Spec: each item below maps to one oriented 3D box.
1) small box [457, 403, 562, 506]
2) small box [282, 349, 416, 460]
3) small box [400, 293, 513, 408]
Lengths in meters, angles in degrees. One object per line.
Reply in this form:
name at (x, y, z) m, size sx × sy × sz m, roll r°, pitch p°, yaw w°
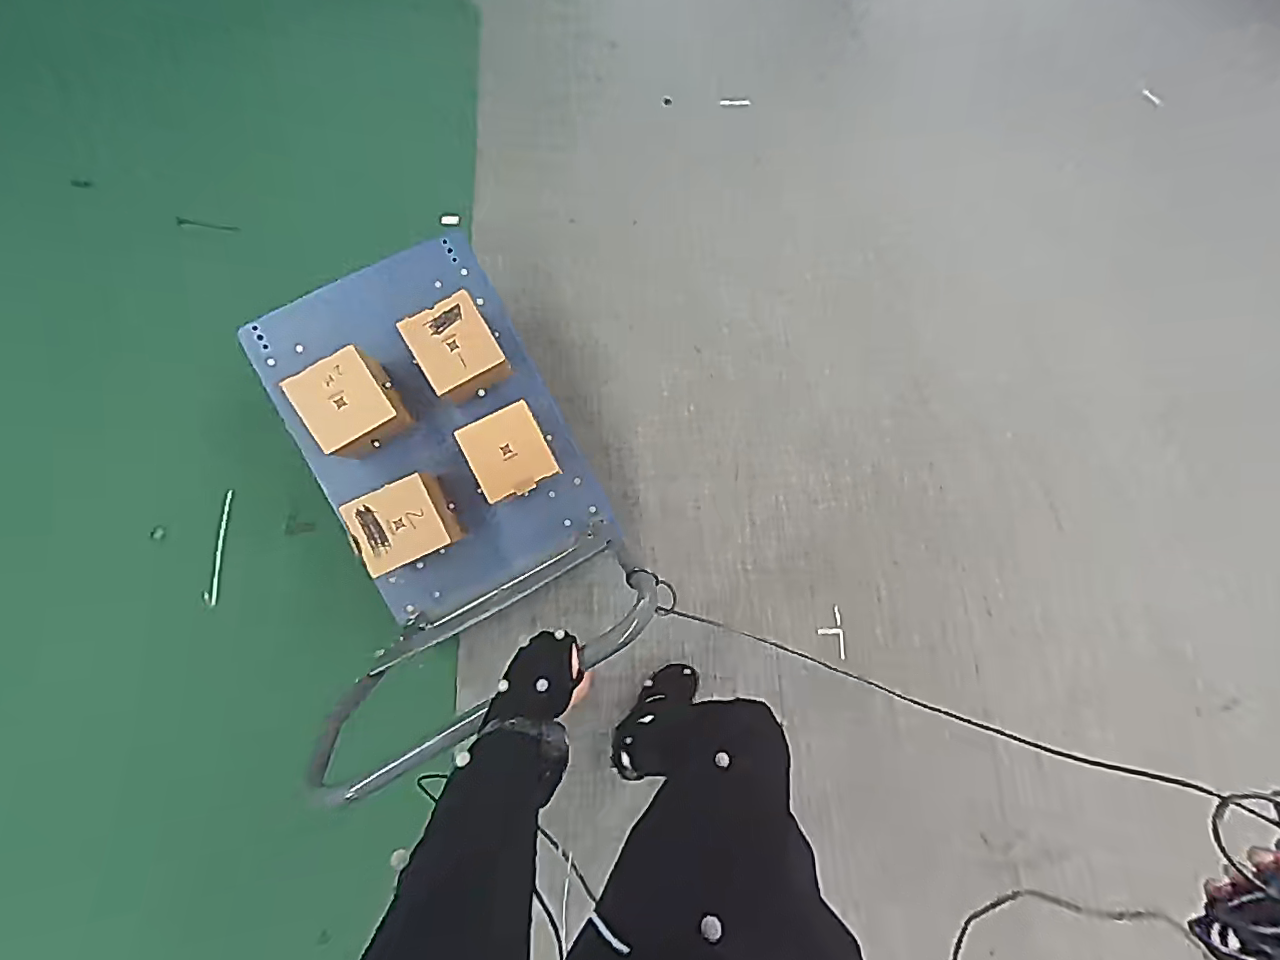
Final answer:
small box at (-0.290, -0.052, 1.230) m, size 0.168 × 0.176 × 0.179 m, roll -27°, pitch 92°, yaw -7°
small box at (-0.625, -0.155, 1.188) m, size 0.168 × 0.176 × 0.179 m, roll -32°, pitch 92°, yaw -8°
small box at (-0.404, -0.283, 1.221) m, size 0.168 × 0.176 × 0.179 m, roll -30°, pitch 93°, yaw -7°
